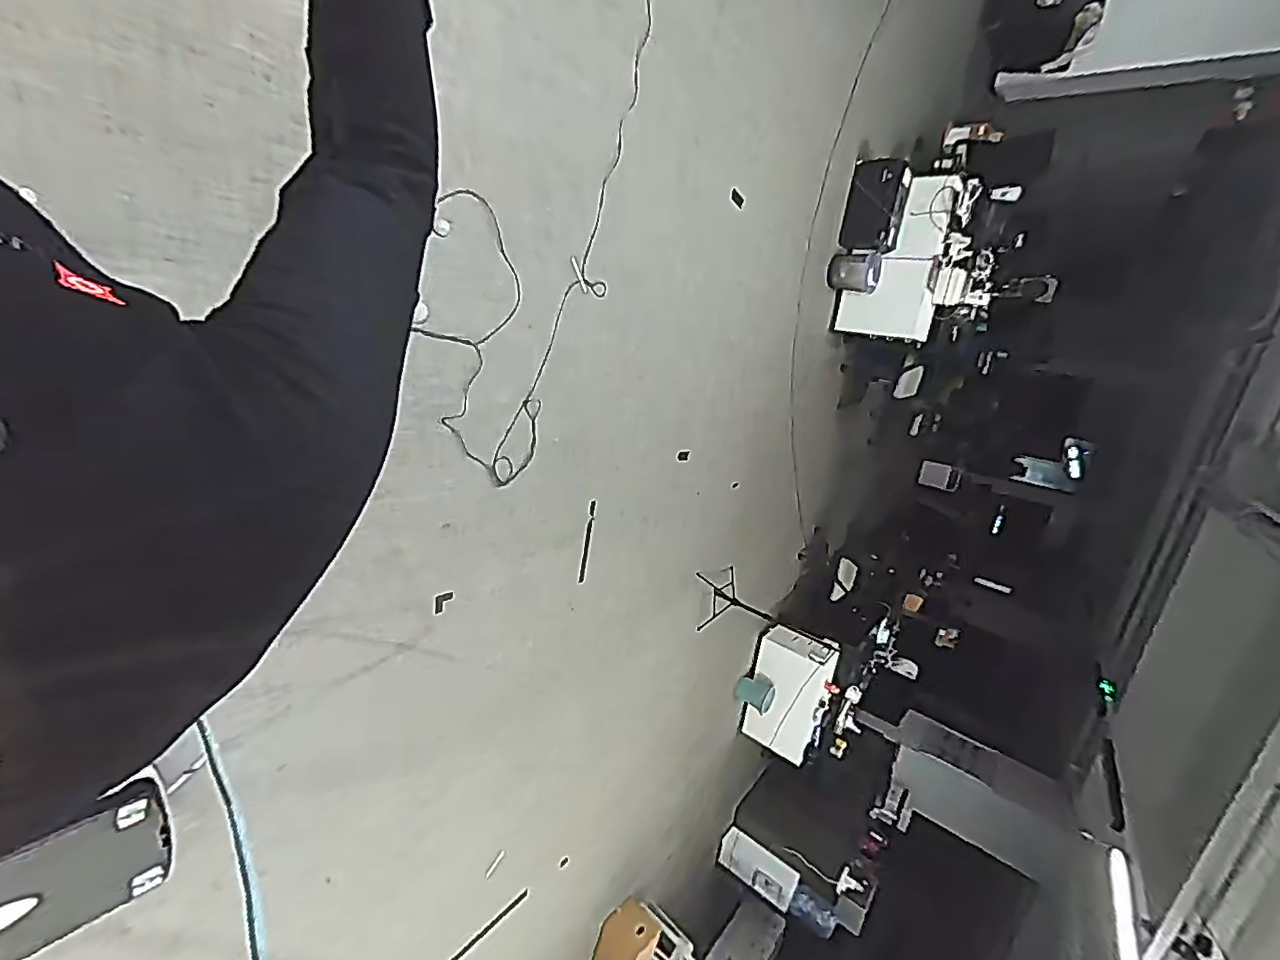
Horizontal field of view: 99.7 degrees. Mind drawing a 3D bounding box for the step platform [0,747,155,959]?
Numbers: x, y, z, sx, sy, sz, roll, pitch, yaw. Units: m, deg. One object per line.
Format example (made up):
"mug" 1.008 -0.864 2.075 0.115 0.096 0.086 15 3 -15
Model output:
"step platform" -1.364 0.822 1.010 0.684 0.204 0.286 -14 117 -49
